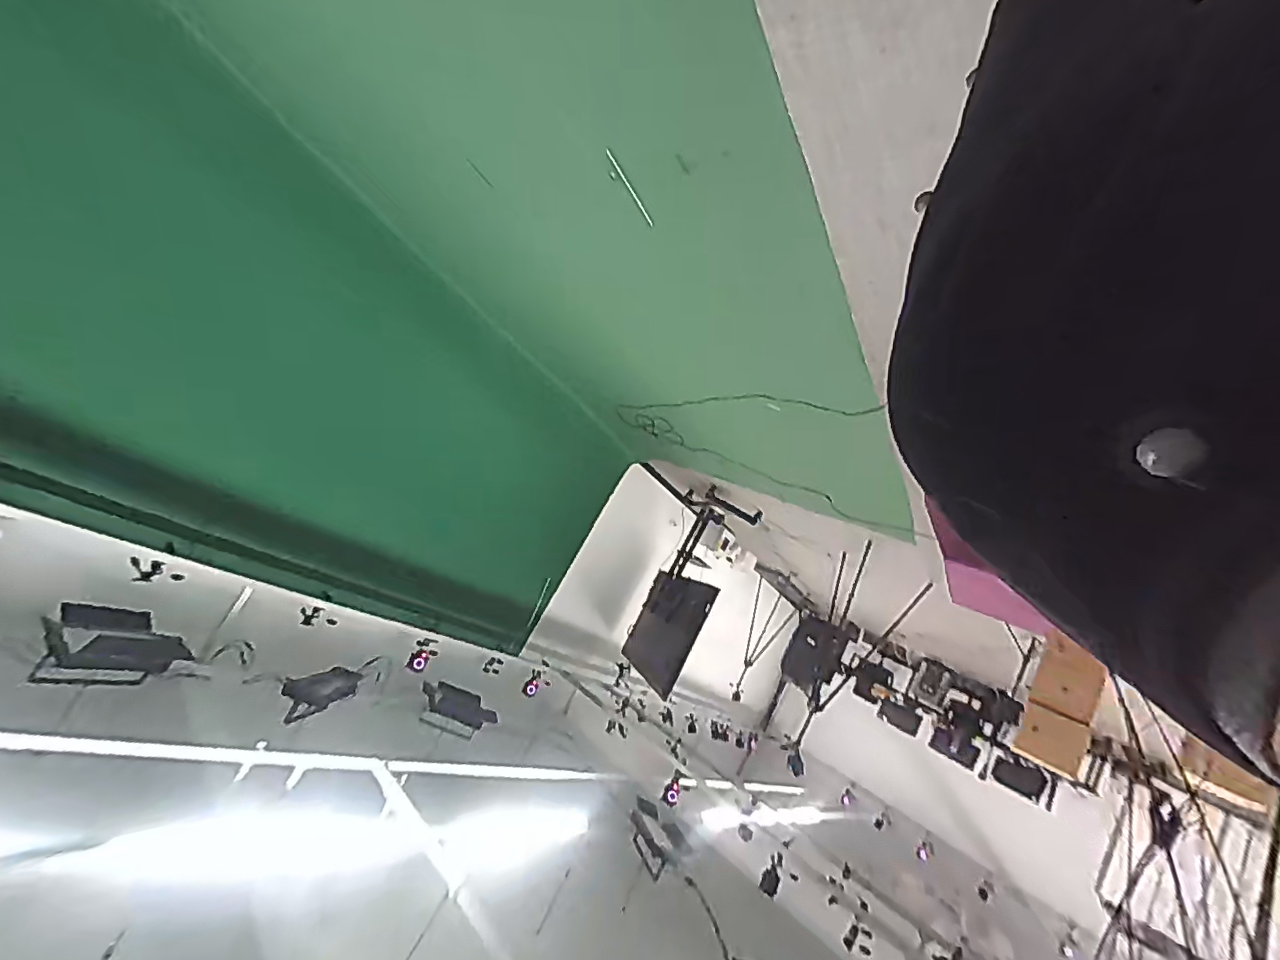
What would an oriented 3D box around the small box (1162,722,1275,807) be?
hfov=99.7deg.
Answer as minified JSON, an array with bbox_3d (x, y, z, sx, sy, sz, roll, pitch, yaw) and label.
[{"bbox_3d":[1.731,0.845,1.624,0.179,0.176,0.168,23,168,37],"label":"small box"}]

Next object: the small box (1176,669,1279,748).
[{"bbox_3d":[1.804,0.702,1.662,0.168,0.176,0.179,22,167,39],"label":"small box"}]

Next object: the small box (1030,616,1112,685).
[{"bbox_3d":[1.515,0.593,1.906,0.179,0.176,0.168,22,167,37],"label":"small box"}]

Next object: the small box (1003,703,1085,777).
[{"bbox_3d":[1.360,0.871,1.827,0.179,0.176,0.168,21,167,37],"label":"small box"}]
